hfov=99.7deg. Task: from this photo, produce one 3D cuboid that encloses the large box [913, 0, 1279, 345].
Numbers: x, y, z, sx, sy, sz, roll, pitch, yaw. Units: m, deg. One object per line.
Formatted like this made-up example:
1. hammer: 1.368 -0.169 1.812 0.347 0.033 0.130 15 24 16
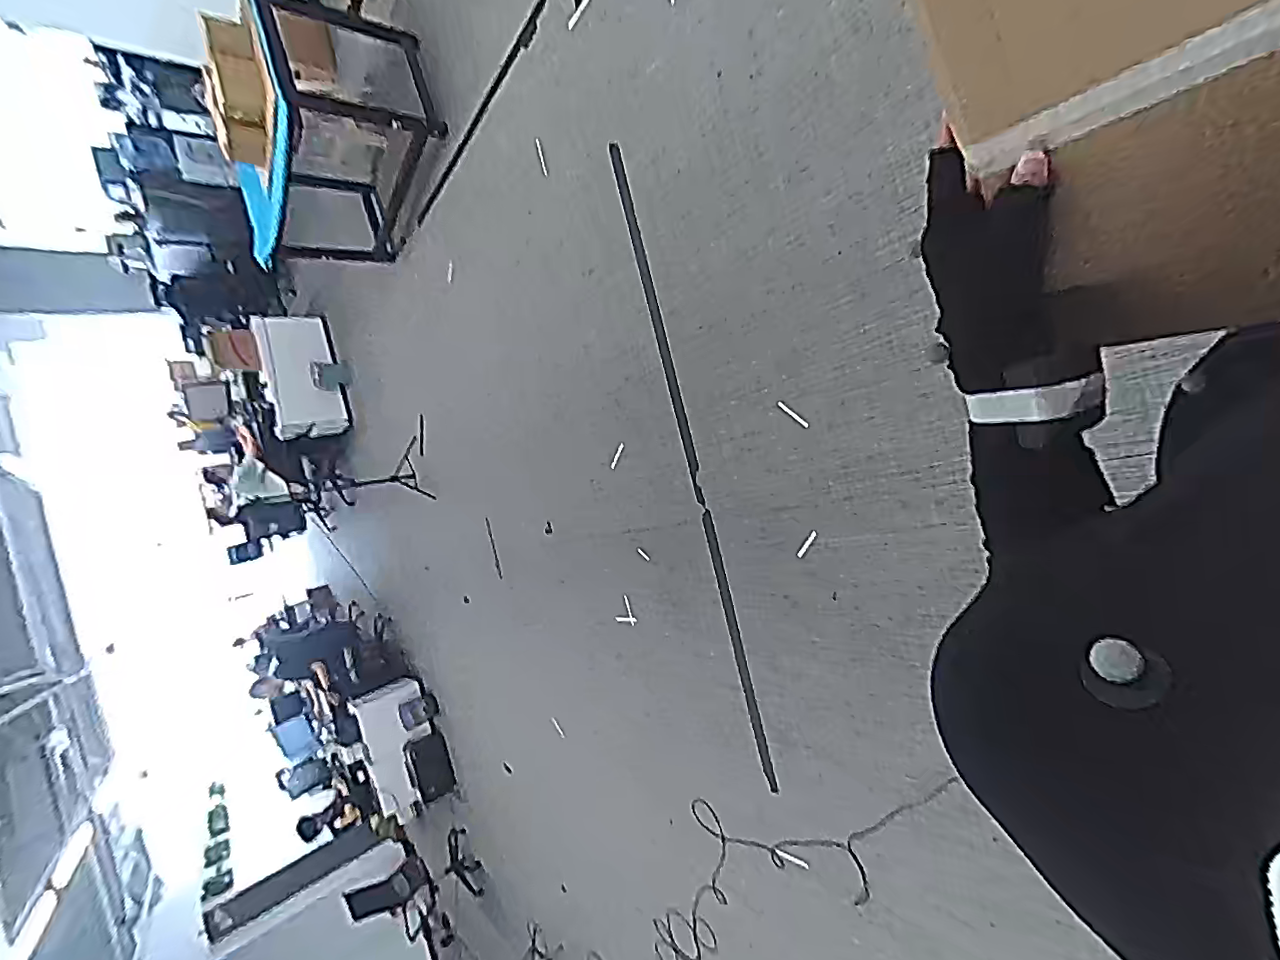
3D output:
1. large box: 0.412 -0.314 0.246 0.320 0.320 0.408 49 156 -24
